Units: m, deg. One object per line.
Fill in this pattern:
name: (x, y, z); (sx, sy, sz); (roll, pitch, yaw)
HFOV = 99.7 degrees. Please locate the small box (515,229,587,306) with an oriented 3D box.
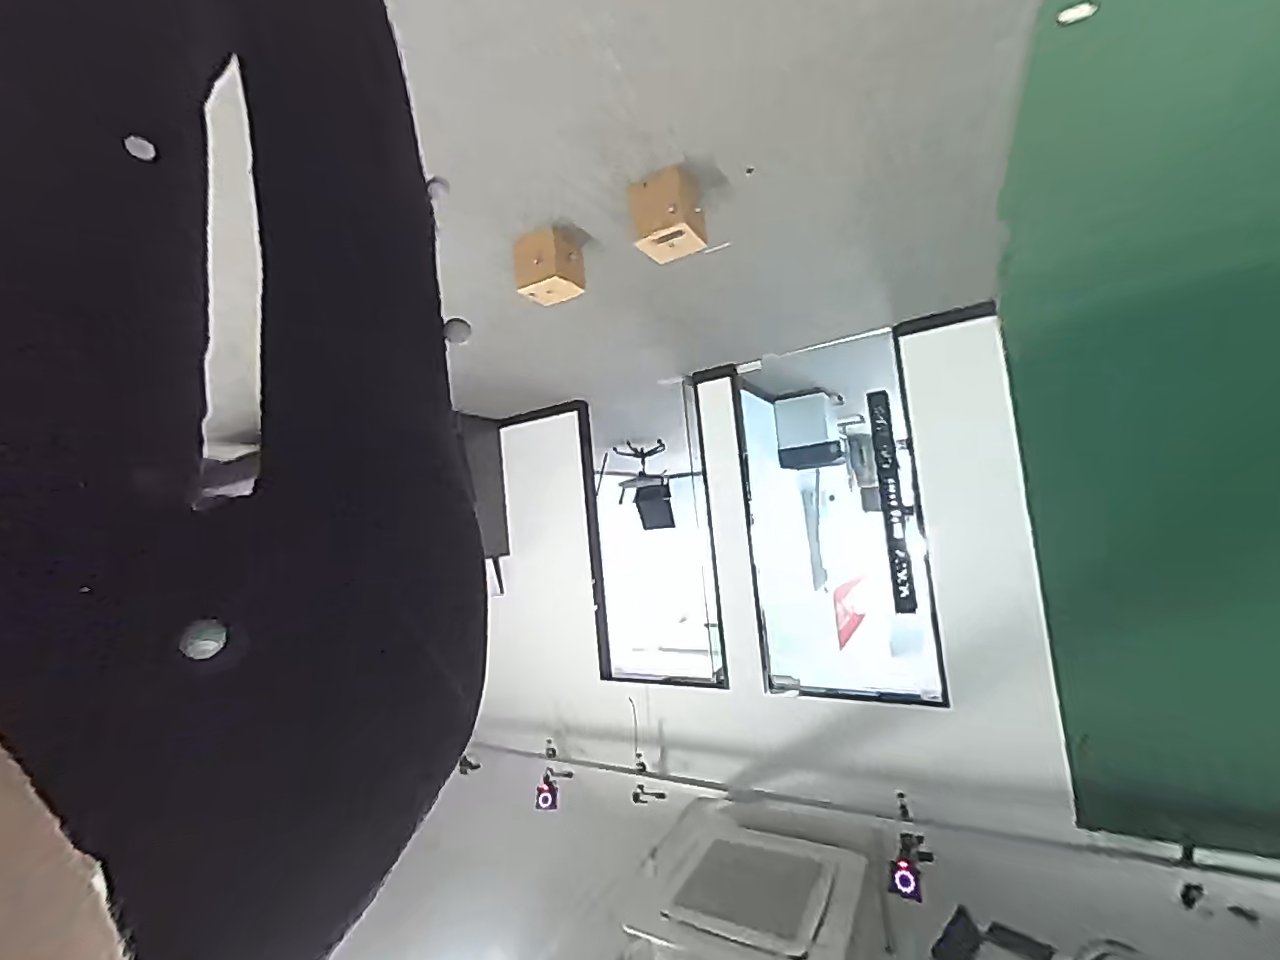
small box: (-0.299, -0.703, 1.793); (0.179, 0.176, 0.168); (-9, 174, 29)
